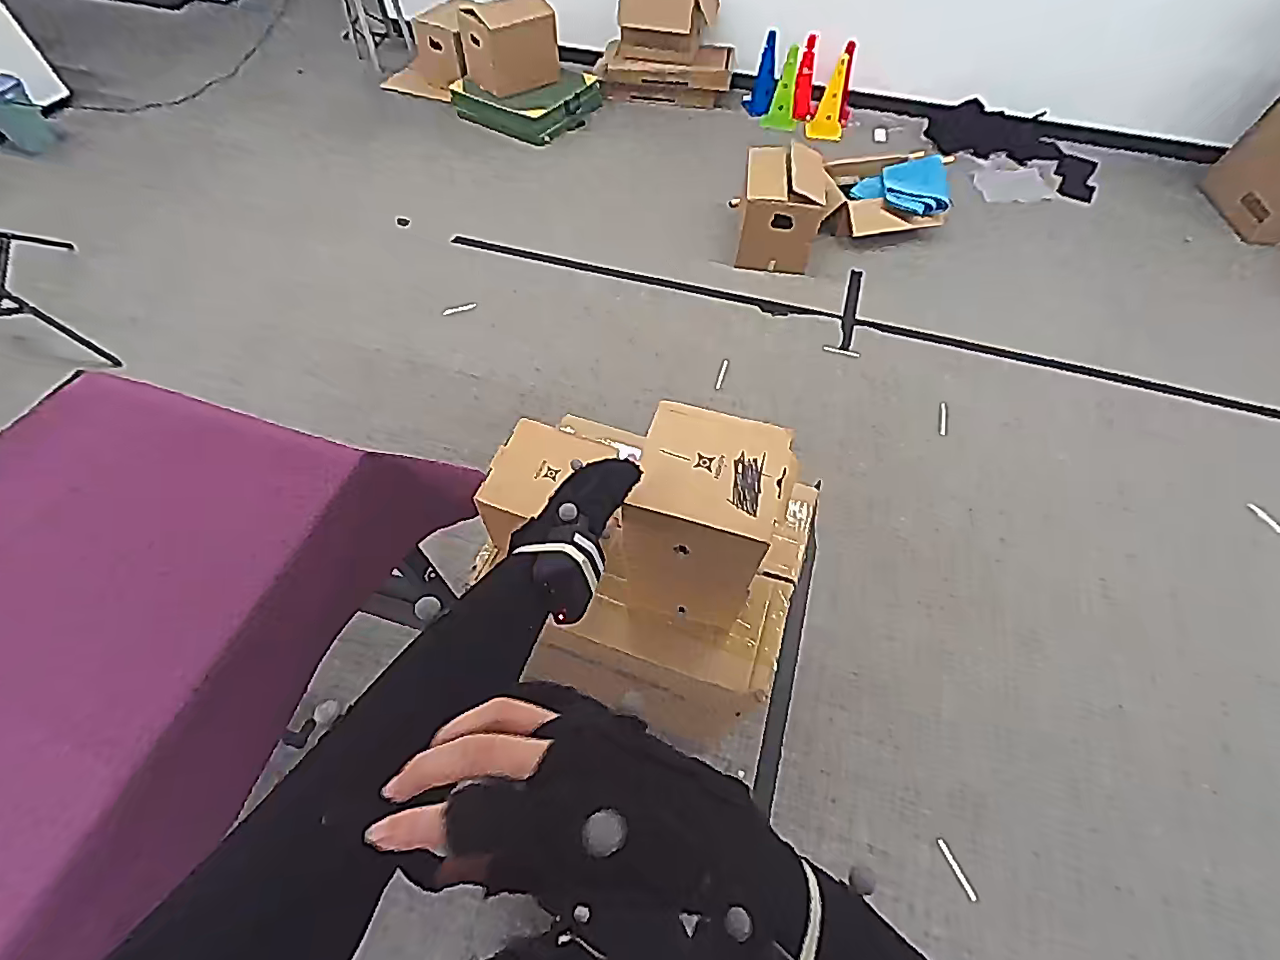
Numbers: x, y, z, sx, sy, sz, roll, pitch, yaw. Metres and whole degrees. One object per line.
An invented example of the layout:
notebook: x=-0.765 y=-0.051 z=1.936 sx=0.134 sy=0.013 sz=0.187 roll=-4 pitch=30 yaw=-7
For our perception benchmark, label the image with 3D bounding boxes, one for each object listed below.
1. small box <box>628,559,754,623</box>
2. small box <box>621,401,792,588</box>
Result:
small box: x=0.082 y=0.114 z=0.858 sx=0.179 sy=0.176 sz=0.168 roll=11 pitch=57 yaw=6
small box: x=0.084 y=0.026 z=0.718 sx=0.179 sy=0.176 sz=0.168 roll=15 pitch=58 yaw=9
